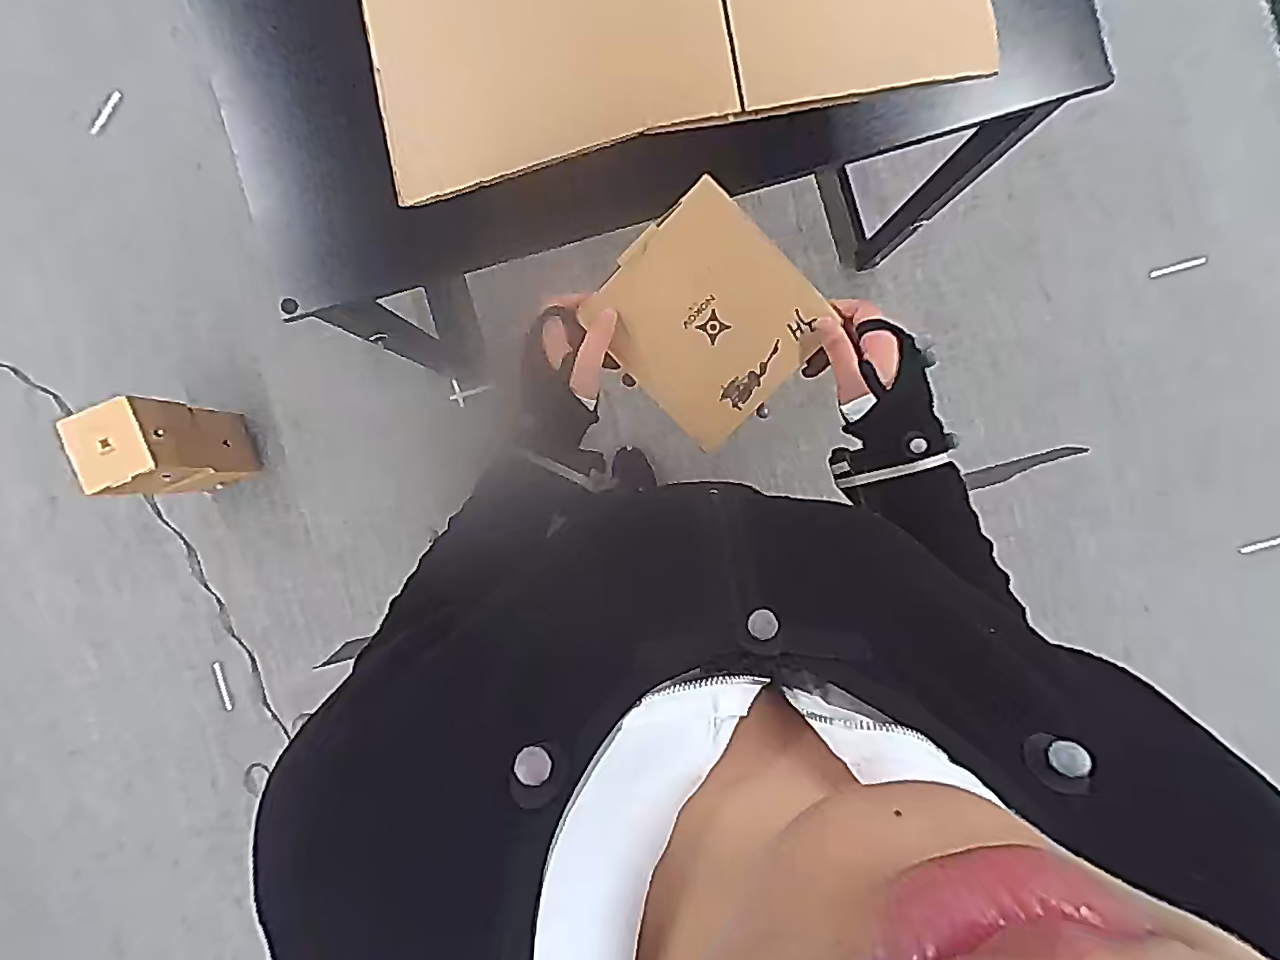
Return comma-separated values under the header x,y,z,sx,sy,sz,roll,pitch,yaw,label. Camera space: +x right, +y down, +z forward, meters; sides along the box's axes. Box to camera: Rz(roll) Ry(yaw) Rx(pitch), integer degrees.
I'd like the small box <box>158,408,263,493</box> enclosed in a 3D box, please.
x,y,z,sx,sy,sz,roll,pitch,yaw,label
-1.147,-0.074,1.422,0.168,0.176,0.179,-20,92,1,small box

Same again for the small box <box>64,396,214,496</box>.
x,y,z,sx,sy,sz,roll,pitch,yaw,label
-1.152,-0.076,1.260,0.168,0.176,0.179,-23,90,0,small box
